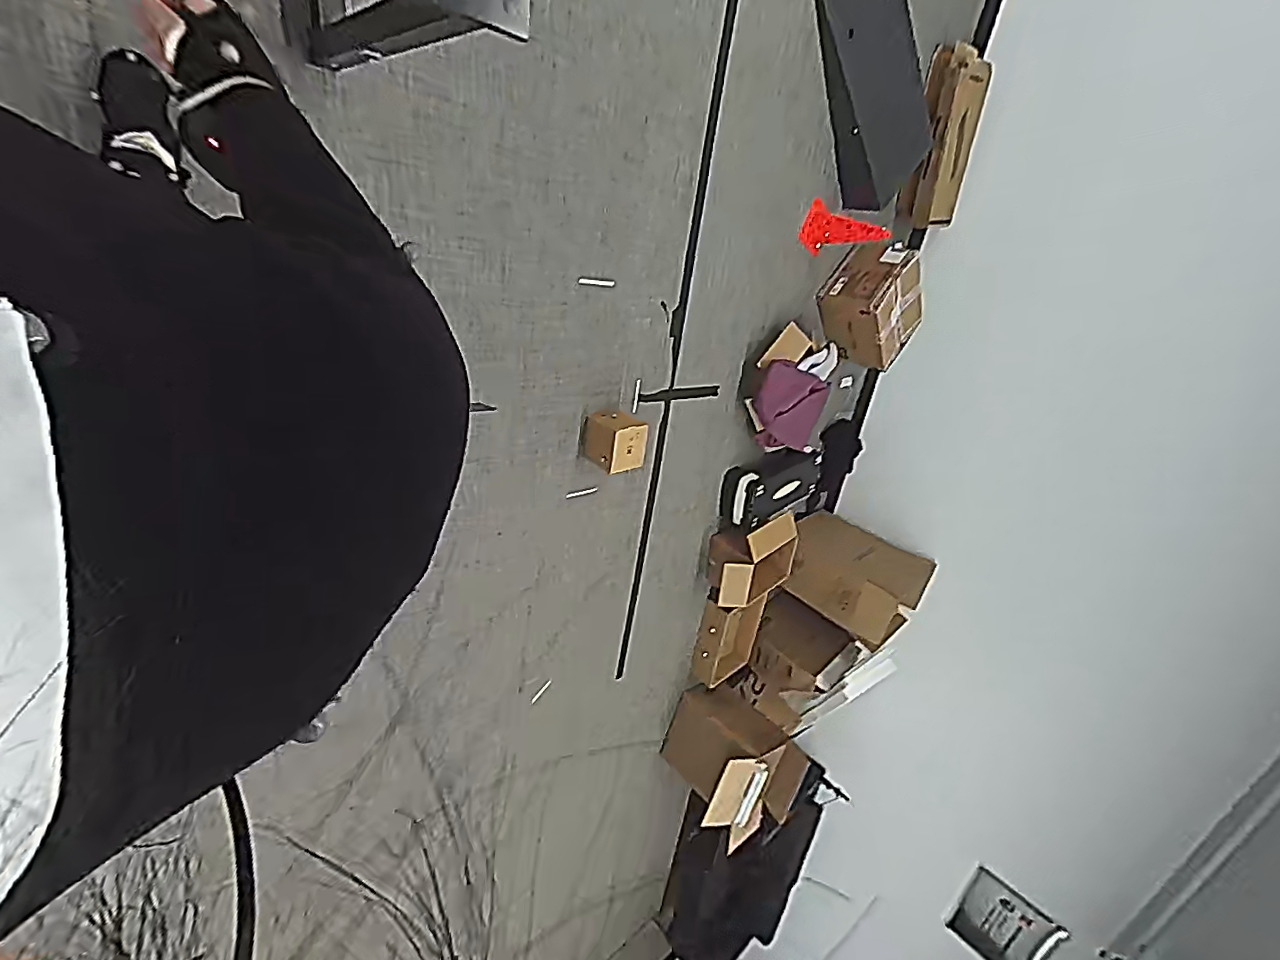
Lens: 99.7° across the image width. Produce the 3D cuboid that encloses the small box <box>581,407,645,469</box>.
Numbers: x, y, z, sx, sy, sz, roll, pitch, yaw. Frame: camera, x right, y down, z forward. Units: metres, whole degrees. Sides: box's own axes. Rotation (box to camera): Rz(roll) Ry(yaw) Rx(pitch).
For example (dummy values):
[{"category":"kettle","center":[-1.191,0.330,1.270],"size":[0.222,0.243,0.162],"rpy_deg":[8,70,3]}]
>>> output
[{"category":"small box","center":[-0.109,-0.164,2.058],"size":[0.168,0.176,0.179],"rpy_deg":[-15,124,-42]}]
